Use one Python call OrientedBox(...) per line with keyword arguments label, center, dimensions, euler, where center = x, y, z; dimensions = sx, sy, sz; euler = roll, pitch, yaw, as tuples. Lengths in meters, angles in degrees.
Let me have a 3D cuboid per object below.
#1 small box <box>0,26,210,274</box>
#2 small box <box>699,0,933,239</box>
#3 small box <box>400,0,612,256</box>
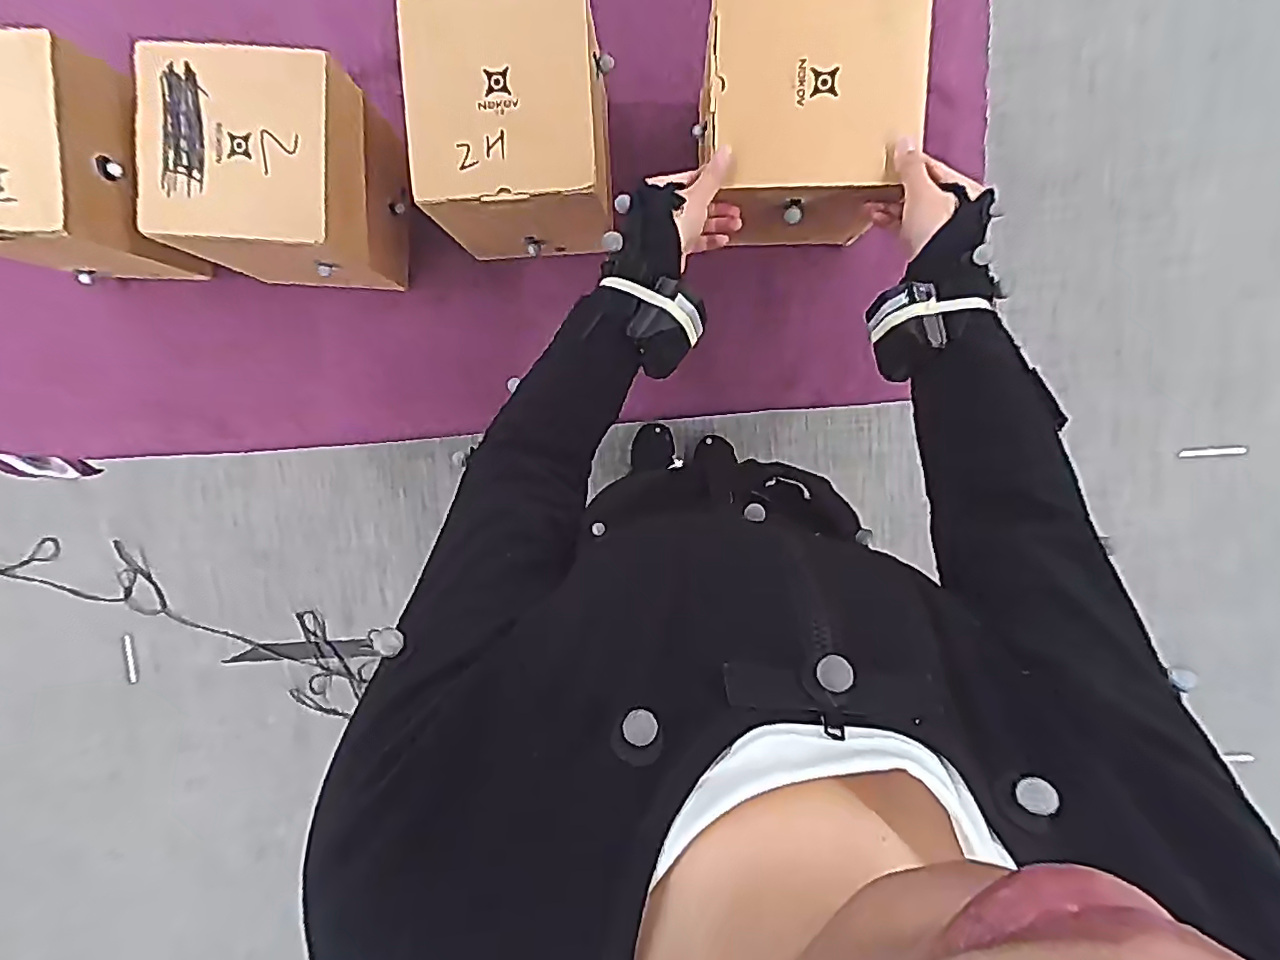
OrientedBox(label="small box", center=(-0.597, -0.325, 0.568), dimensions=(0.168, 0.176, 0.179), euler=(2, 96, 2))
OrientedBox(label="small box", center=(0.151, -0.343, 0.522), dimensions=(0.179, 0.176, 0.168), euler=(1, 98, 4))
OrientedBox(label="small box", center=(-0.120, -0.347, 0.547), dimensions=(0.168, 0.176, 0.179), euler=(-2, 95, 3))
